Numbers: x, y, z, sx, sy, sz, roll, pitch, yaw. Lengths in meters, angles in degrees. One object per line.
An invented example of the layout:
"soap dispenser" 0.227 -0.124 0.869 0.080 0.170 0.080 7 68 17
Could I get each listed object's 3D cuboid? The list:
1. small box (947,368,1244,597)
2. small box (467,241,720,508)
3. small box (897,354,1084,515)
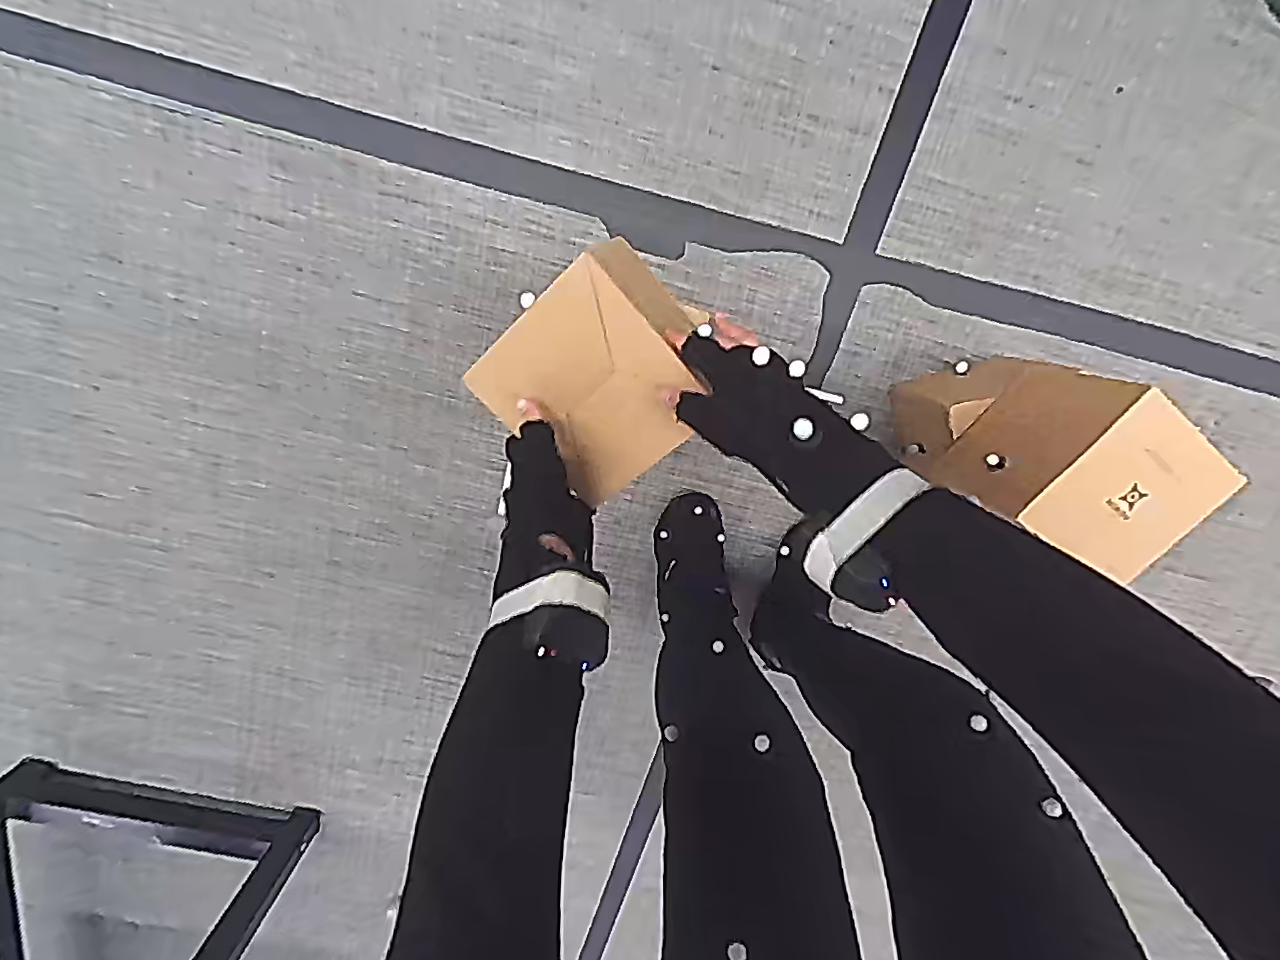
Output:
"small box" 0.497 -0.007 0.627 0.168 0.176 0.179 36 104 -13
"small box" -0.038 -0.104 0.544 0.179 0.176 0.168 40 117 -16
"small box" 0.494 -0.073 0.780 0.179 0.176 0.168 -18 108 5
